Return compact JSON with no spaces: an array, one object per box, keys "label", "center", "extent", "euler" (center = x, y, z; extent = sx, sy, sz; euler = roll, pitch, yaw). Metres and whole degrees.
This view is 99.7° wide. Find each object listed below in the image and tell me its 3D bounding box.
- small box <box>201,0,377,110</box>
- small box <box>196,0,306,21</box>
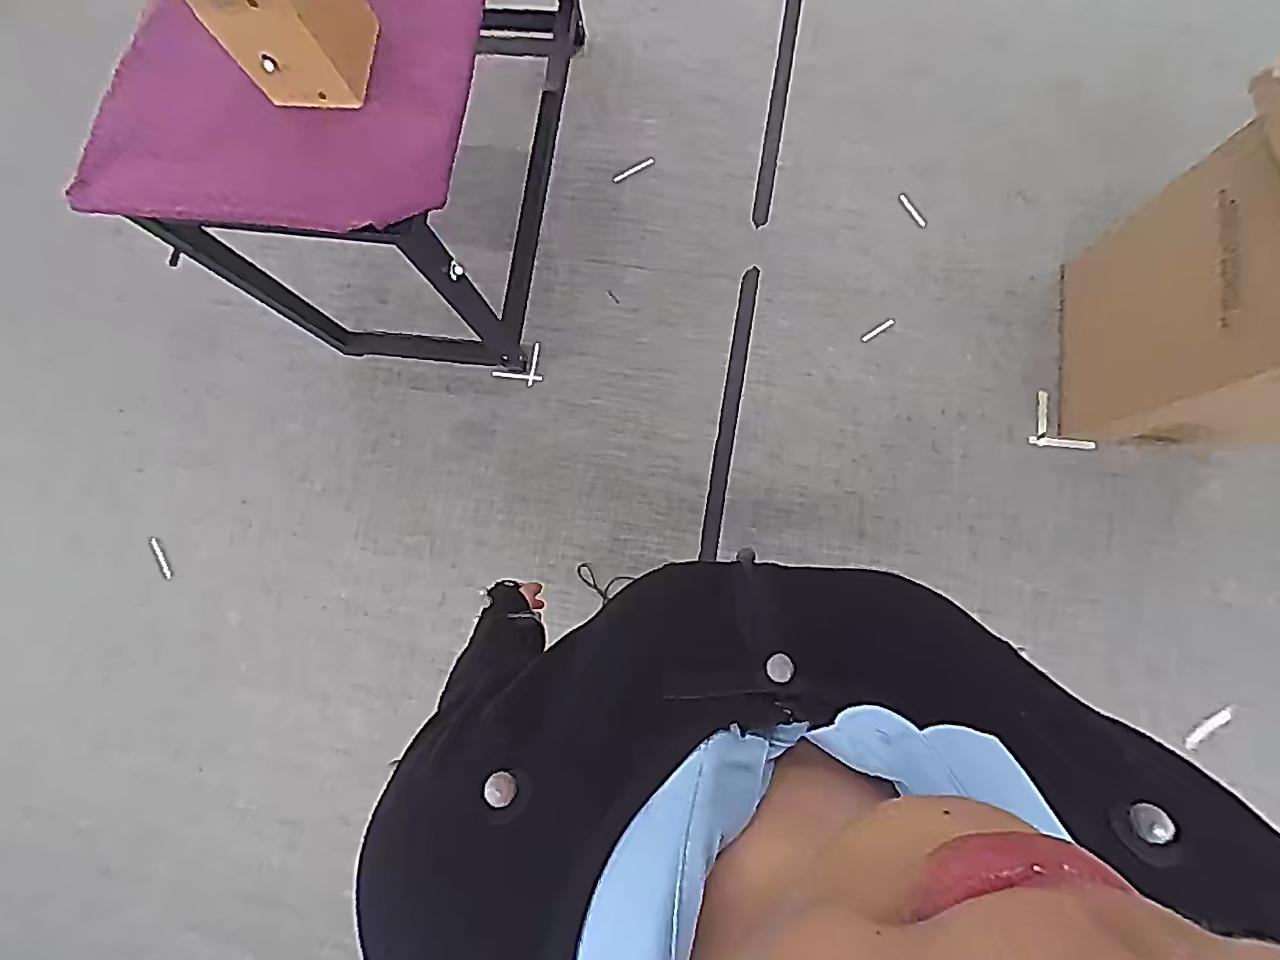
[{"label":"small box","center":[-0.563,-0.750,0.892],"extent":[0.168,0.176,0.179],"euler":[5,81,5]},{"label":"small box","center":[-0.569,-0.777,0.730],"extent":[0.168,0.176,0.179],"euler":[4,82,5]}]
